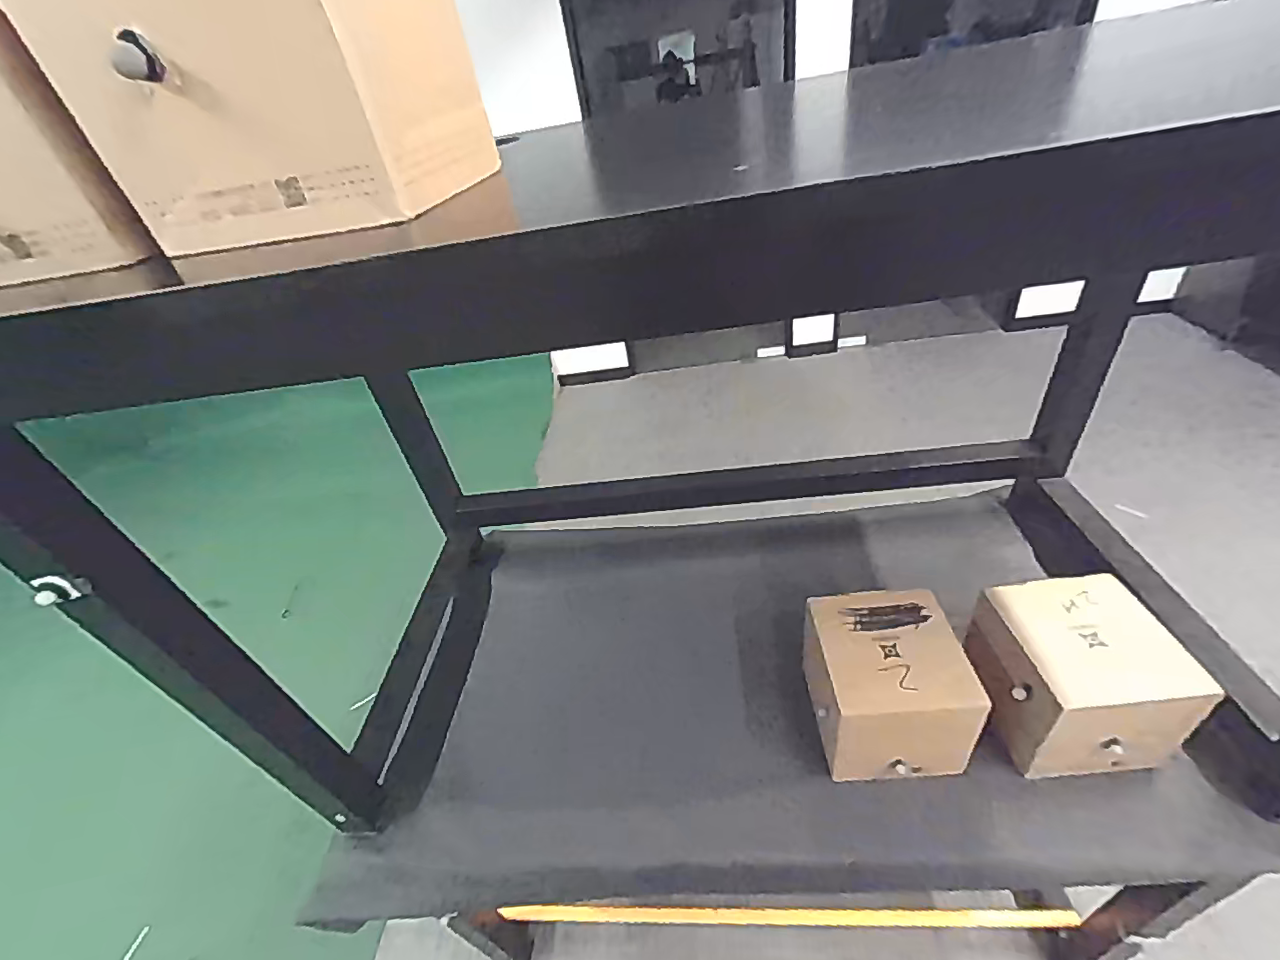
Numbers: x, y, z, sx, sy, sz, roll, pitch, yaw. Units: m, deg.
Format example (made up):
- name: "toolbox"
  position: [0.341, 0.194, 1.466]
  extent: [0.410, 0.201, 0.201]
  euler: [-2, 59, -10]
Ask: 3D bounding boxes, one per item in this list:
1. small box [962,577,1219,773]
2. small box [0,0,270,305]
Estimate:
- name: "small box"
  position: [0.551, 0.254, 0.696]
  extent: [0.168, 0.176, 0.179]
  euler: [-8, 36, 4]
- name: "small box"
  position: [-0.399, -0.230, 0.365]
  extent: [0.168, 0.176, 0.179]
  euler: [-6, 38, 6]
